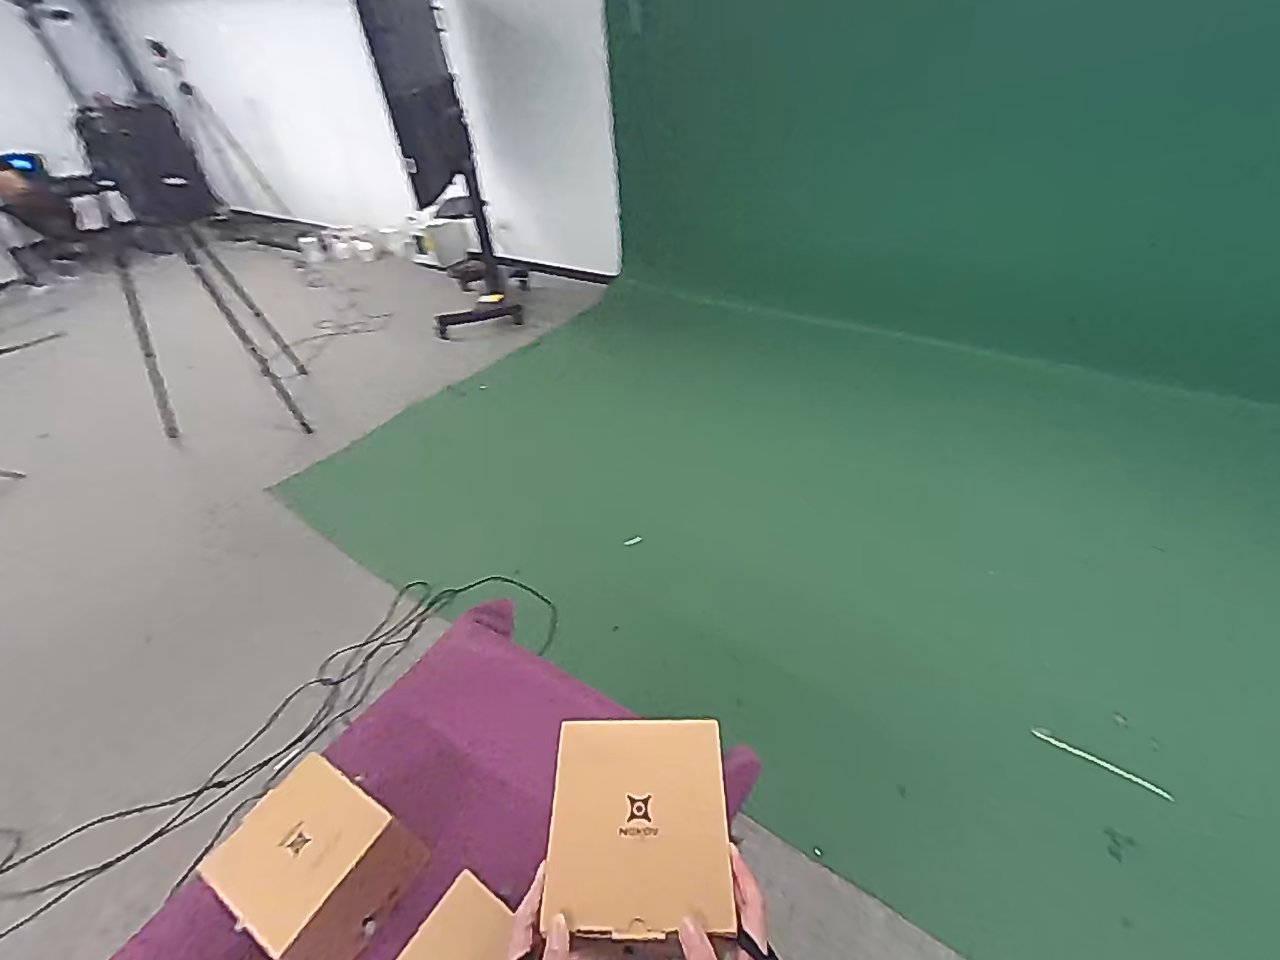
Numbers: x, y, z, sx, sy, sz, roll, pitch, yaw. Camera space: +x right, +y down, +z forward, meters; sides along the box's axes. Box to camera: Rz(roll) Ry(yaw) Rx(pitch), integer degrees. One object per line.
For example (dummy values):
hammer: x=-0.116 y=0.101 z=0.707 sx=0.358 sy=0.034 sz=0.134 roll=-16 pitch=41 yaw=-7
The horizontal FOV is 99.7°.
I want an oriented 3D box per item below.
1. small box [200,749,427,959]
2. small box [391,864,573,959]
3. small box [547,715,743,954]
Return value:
small box: x=-0.429 y=0.514 z=0.736 sx=0.179 sy=0.176 sz=0.168 roll=20 pitch=46 yaw=24
small box: x=-0.177 y=0.594 z=0.613 sx=0.179 sy=0.176 sz=0.168 roll=20 pitch=46 yaw=28
small box: x=0.007 y=0.365 z=0.559 sx=0.168 sy=0.176 sz=0.179 roll=-1 pitch=45 yaw=2
